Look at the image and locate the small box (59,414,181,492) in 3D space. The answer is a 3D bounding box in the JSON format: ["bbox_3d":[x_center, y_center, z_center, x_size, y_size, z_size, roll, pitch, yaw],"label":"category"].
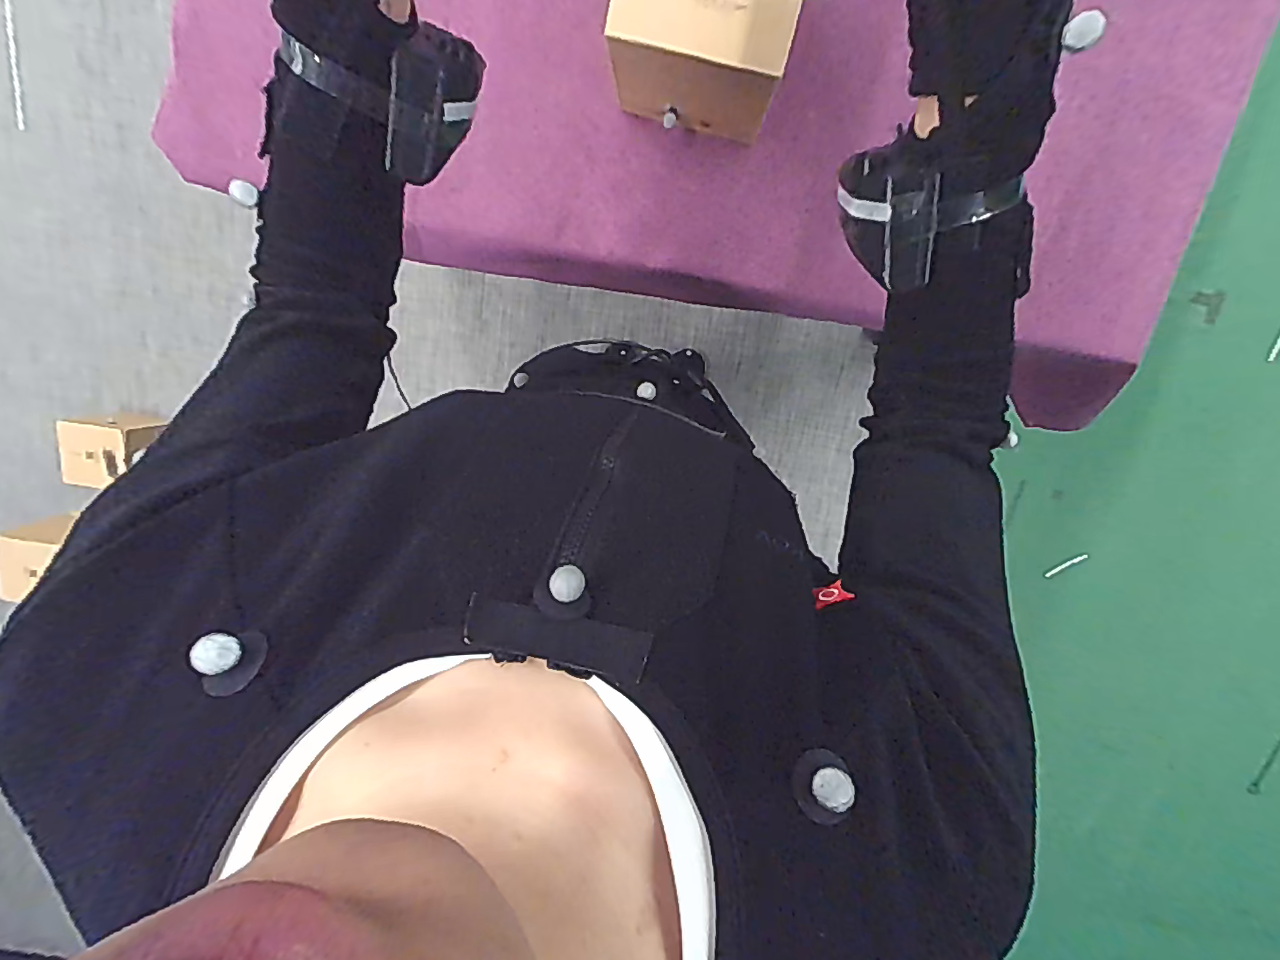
[{"bbox_3d":[-1.371,-0.078,1.443,0.179,0.176,0.168,8,103,1],"label":"small box"}]

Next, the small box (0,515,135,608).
[{"bbox_3d":[-1.417,0.195,1.342,0.179,0.176,0.168,10,103,1],"label":"small box"}]

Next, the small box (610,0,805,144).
[{"bbox_3d":[0.074,-0.478,0.542,0.168,0.176,0.179,15,104,0],"label":"small box"}]
